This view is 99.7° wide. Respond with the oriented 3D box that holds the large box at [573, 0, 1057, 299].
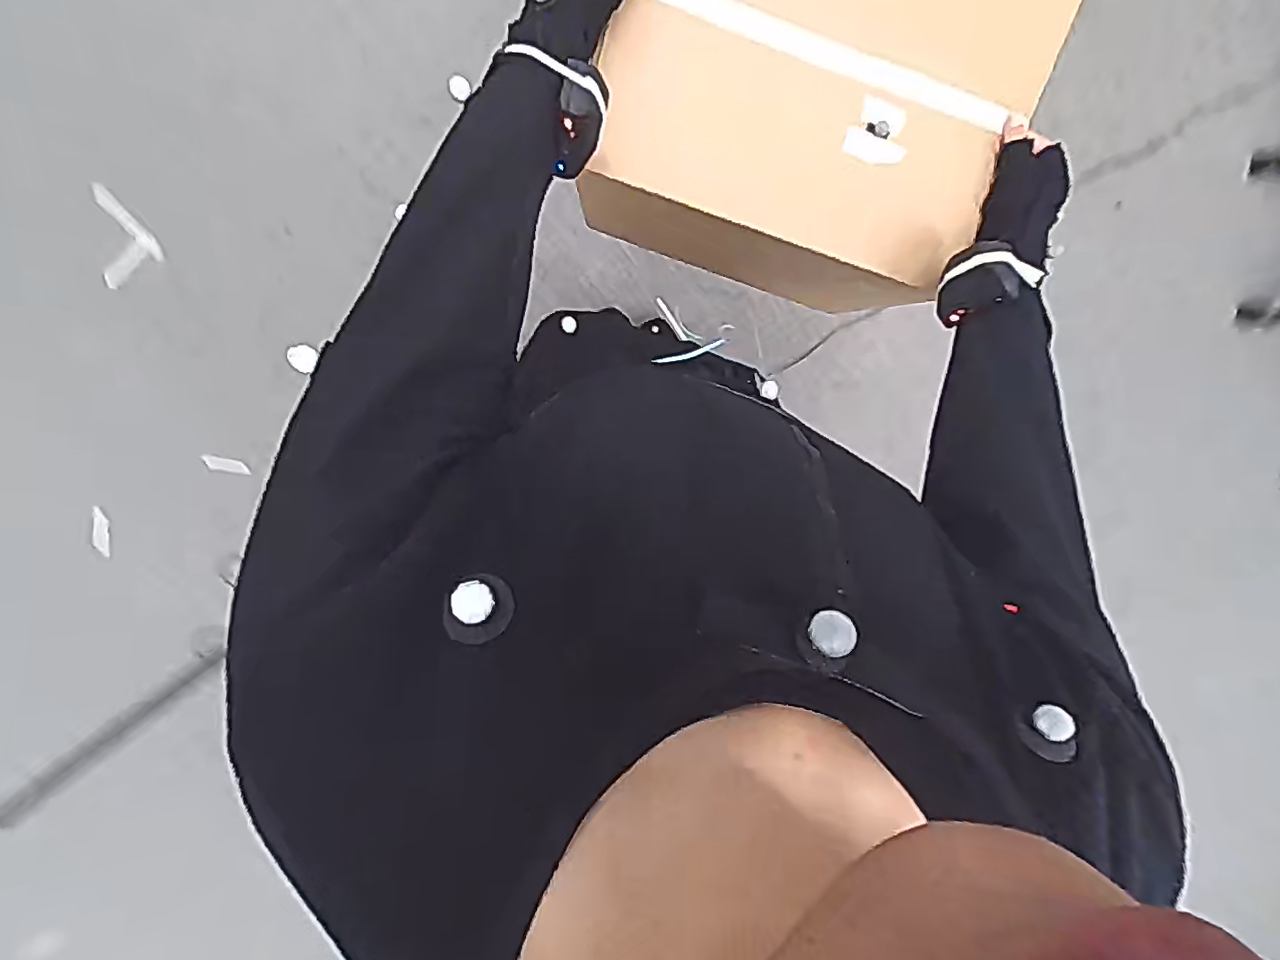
[{"bbox_3d":[0.156,-0.432,0.642,0.408,0.320,0.320,15,105,-7],"label":"large box"}]
